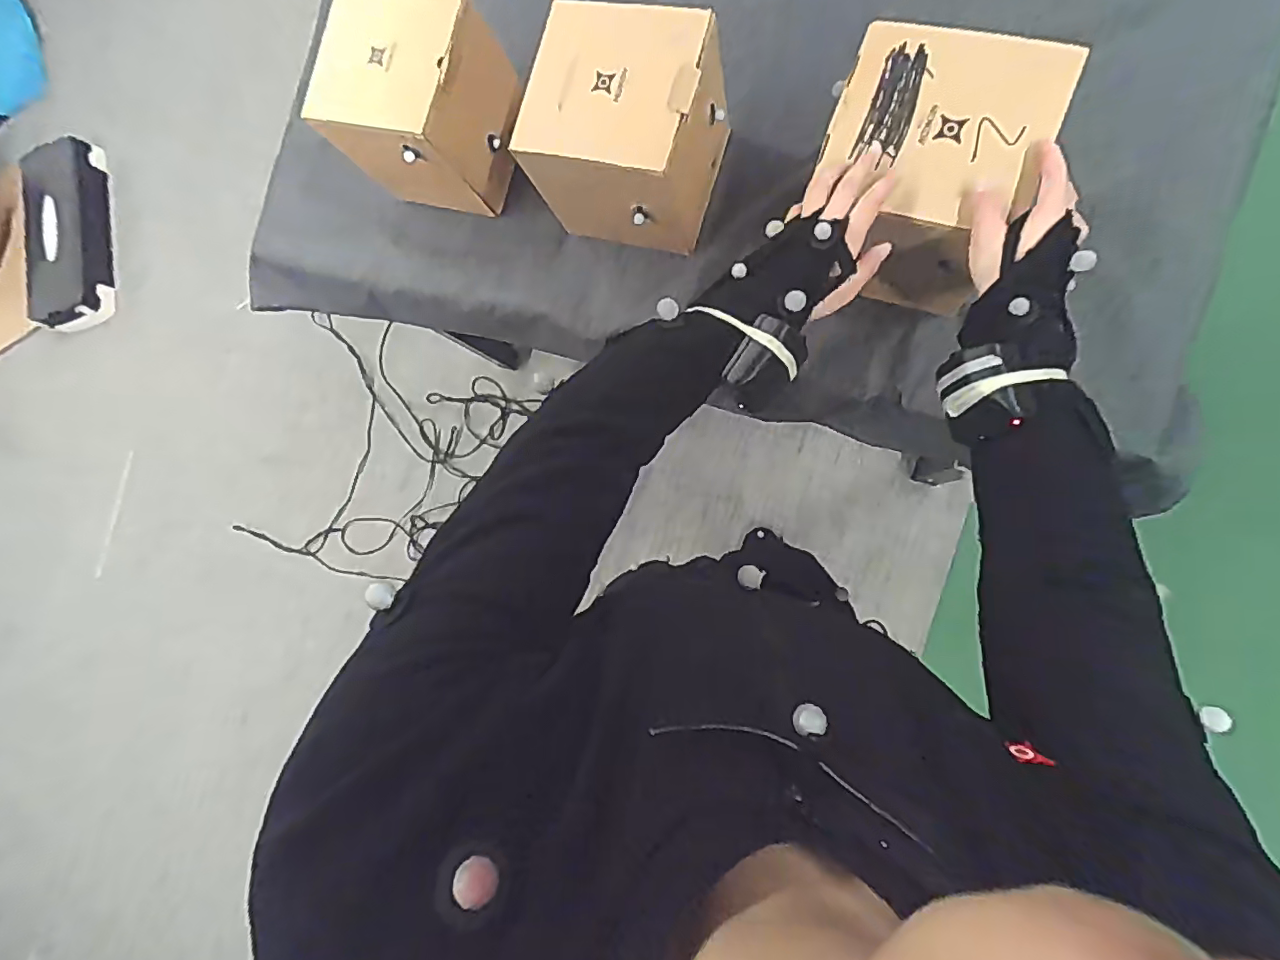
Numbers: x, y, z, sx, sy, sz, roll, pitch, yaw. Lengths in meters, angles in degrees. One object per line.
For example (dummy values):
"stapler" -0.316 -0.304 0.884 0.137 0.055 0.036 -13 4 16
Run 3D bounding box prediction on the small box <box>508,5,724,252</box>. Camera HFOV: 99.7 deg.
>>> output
"small box" -0.014 -0.383 0.614 0.179 0.176 0.168 17 89 17

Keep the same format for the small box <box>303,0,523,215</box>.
"small box" -0.272 -0.466 0.688 0.179 0.176 0.168 16 89 14
